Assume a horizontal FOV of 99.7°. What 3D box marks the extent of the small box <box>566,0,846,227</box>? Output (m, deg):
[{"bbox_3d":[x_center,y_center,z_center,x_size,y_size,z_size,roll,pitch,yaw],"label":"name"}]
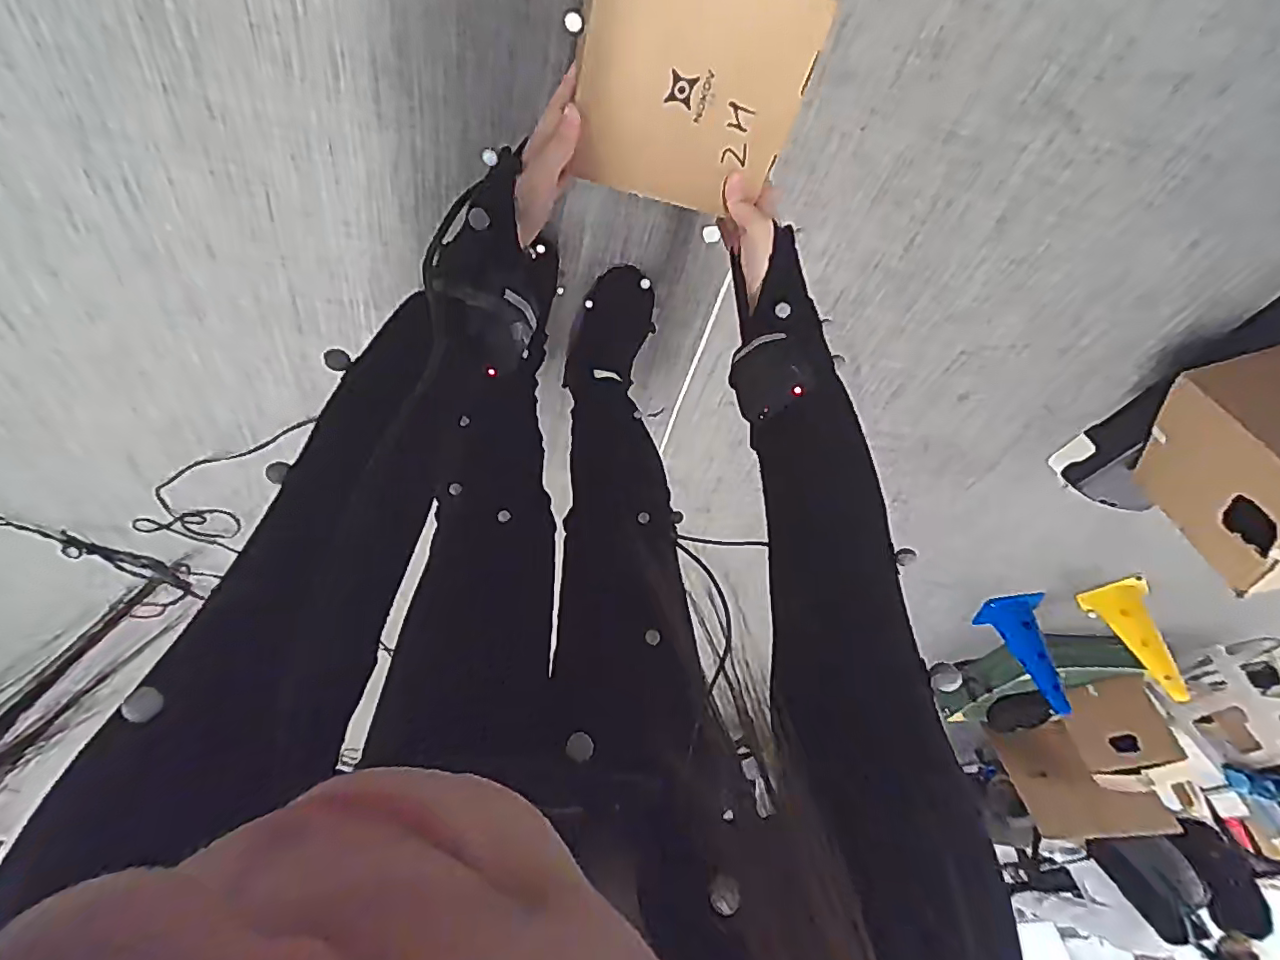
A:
[{"bbox_3d":[0.038,-0.358,0.472,0.179,0.176,0.168,8,139,-15],"label":"small box"}]
